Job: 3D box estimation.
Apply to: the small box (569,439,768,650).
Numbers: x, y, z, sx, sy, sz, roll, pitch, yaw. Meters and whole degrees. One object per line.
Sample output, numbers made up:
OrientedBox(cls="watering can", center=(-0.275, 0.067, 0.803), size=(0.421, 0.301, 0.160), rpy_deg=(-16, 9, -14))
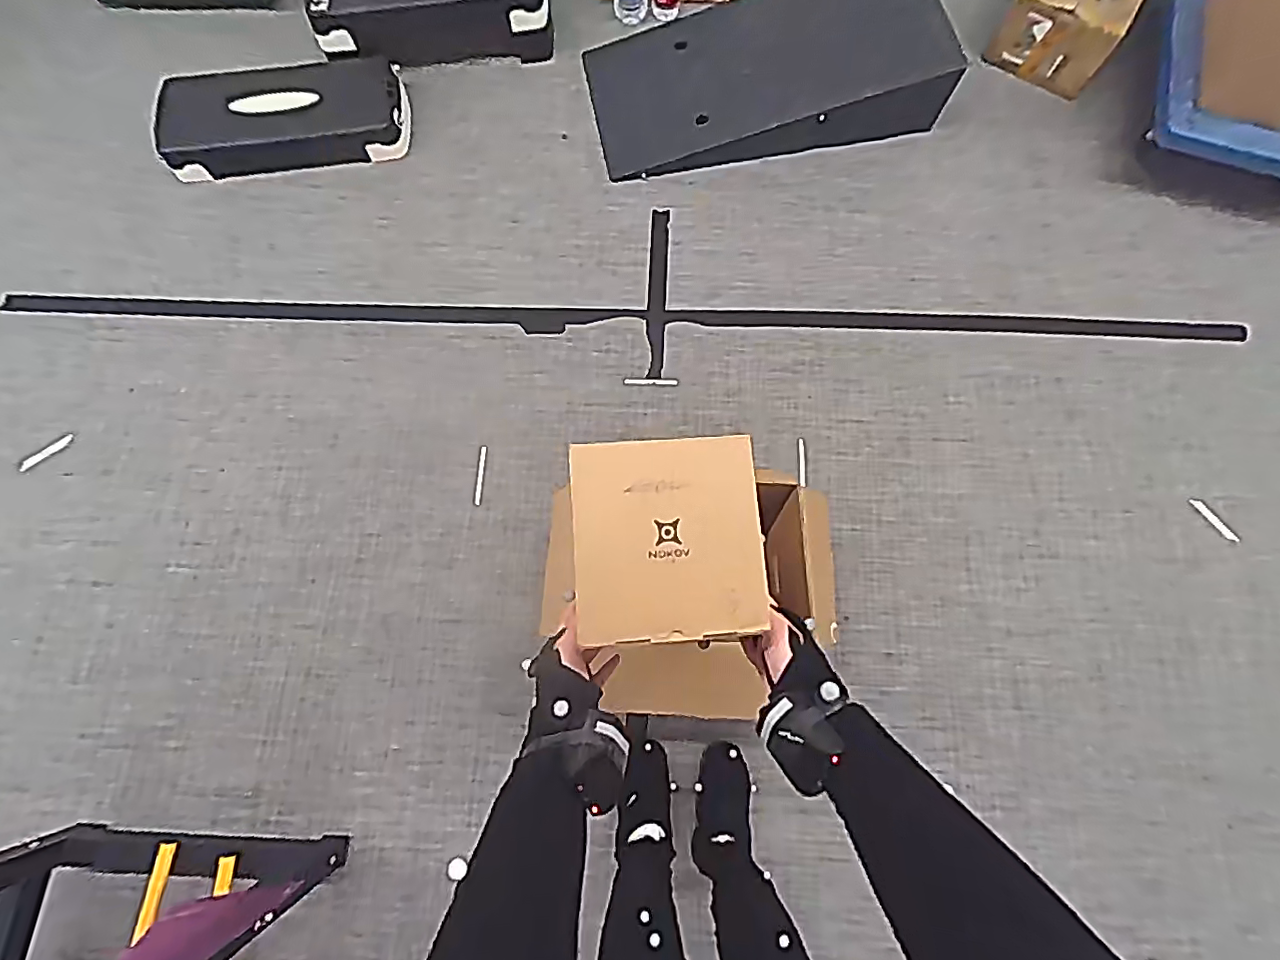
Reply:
OrientedBox(cls="small box", center=(0.018, 0.067, 0.542), size=(0.168, 0.176, 0.179), rpy_deg=(-3, 78, -5))
